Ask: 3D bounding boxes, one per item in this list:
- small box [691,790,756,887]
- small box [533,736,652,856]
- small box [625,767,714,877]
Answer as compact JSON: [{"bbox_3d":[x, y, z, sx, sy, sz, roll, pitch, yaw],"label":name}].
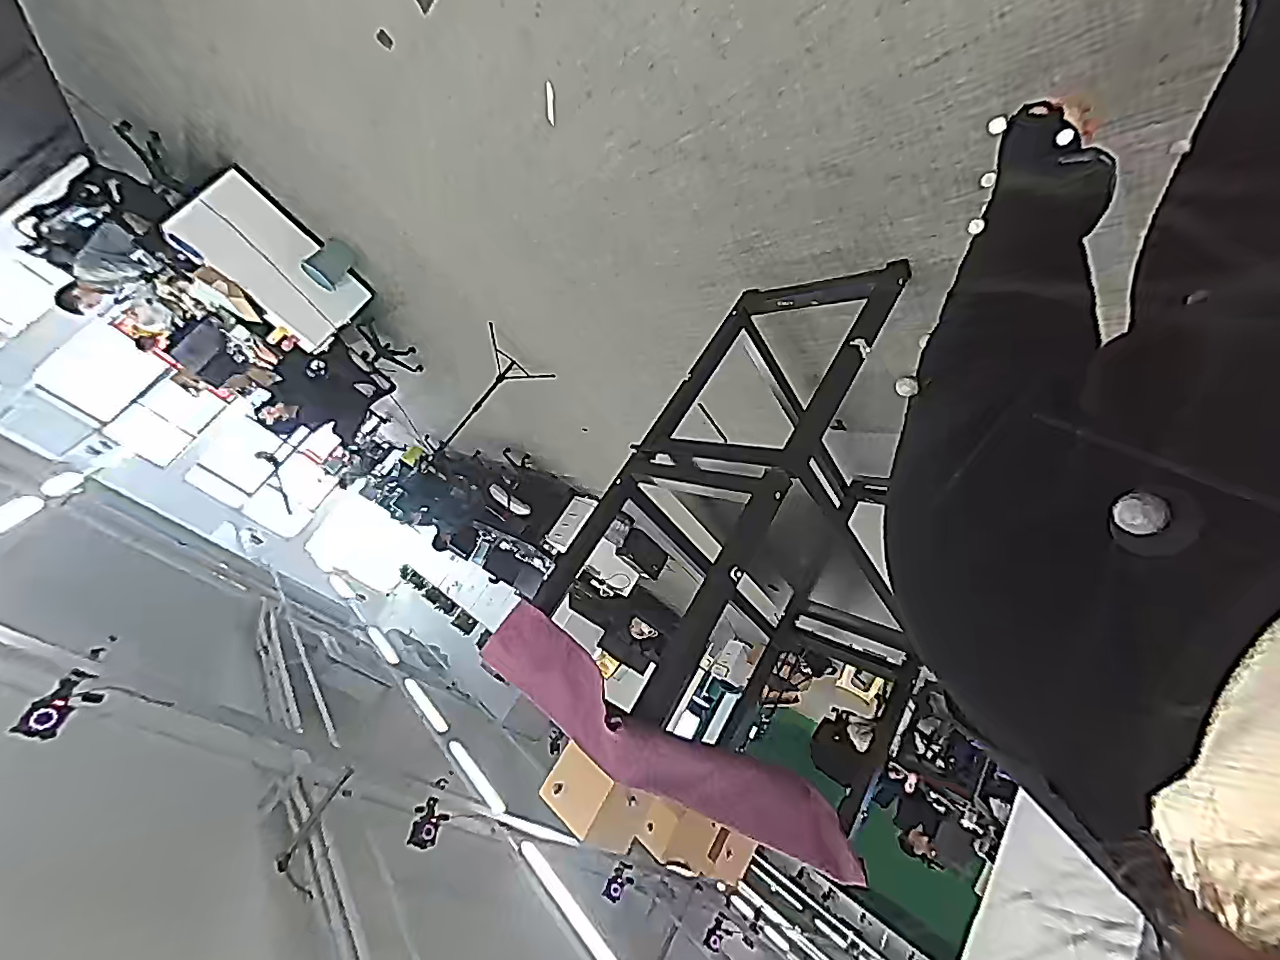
[{"bbox_3d":[0.209,1.050,1.596,0.168,0.176,0.179,12,153,50],"label":"small box"},{"bbox_3d":[-0.105,0.716,1.247,0.179,0.176,0.168,14,155,47],"label":"small box"},{"bbox_3d":[0.075,0.908,1.449,0.168,0.176,0.179,44,160,-30],"label":"small box"}]
